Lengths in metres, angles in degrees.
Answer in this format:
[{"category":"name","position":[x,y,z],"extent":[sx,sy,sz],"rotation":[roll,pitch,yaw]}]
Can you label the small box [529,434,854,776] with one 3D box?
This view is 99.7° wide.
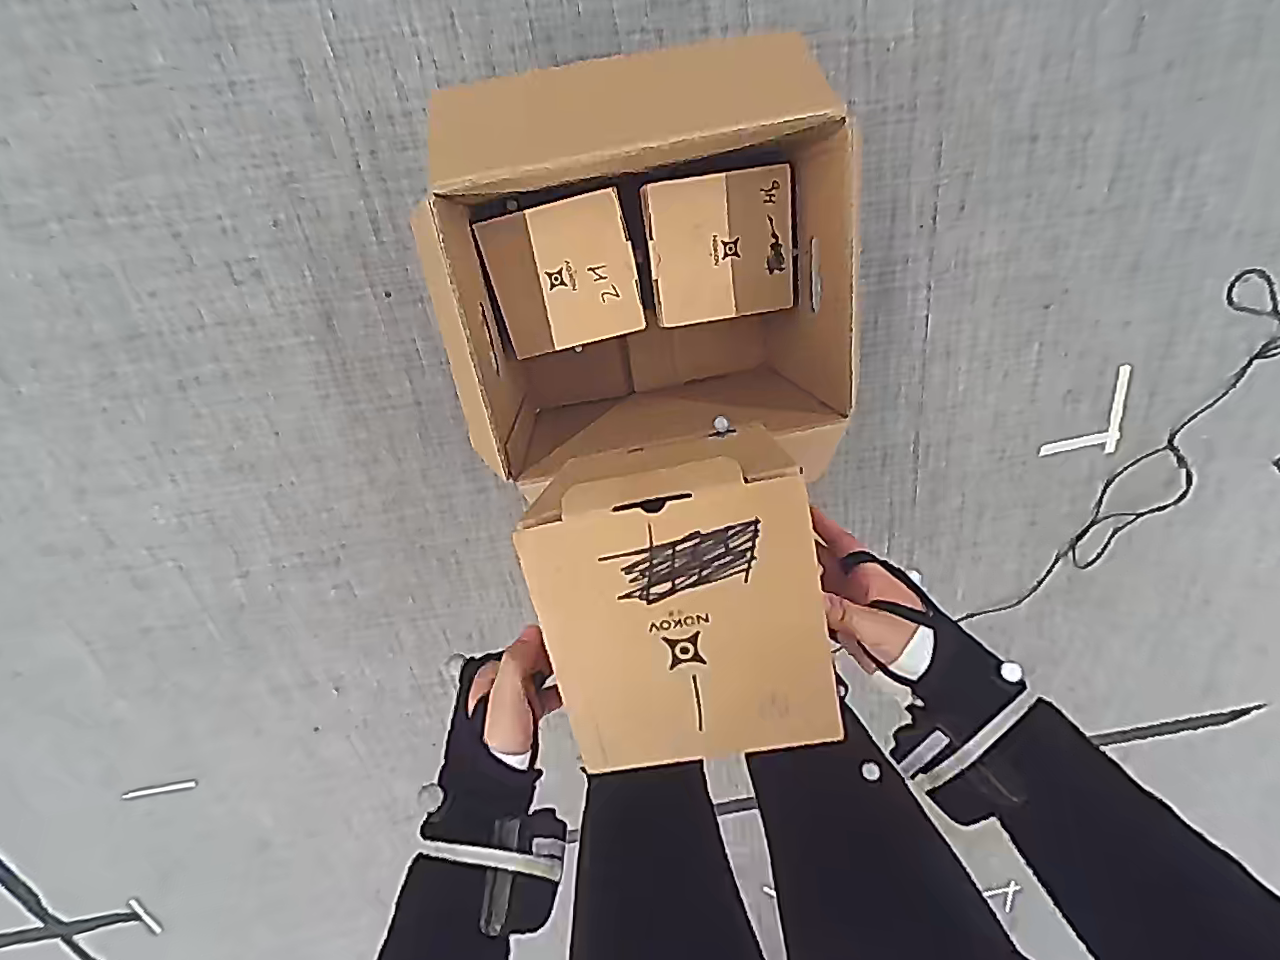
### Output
[{"category":"small box","position":[0.036,0.070,0.390],"extent":[0.168,0.176,0.179],"rotation":[-11,104,7]}]
